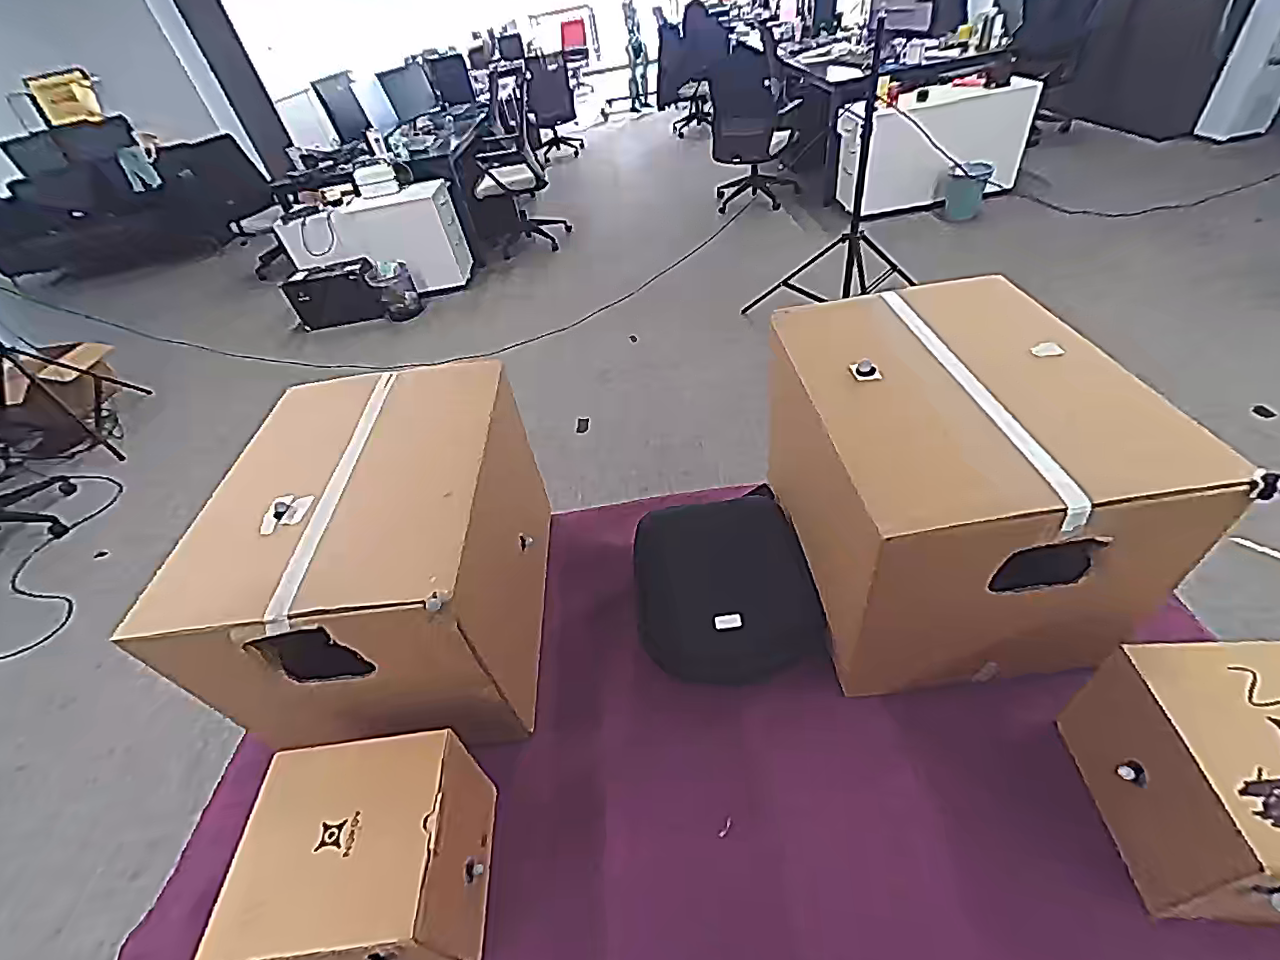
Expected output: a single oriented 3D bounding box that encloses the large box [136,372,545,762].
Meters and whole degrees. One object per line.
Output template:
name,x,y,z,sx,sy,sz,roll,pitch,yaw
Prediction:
large box,-0.317,0.108,0.736,0.320,0.320,0.408,-8,45,2
